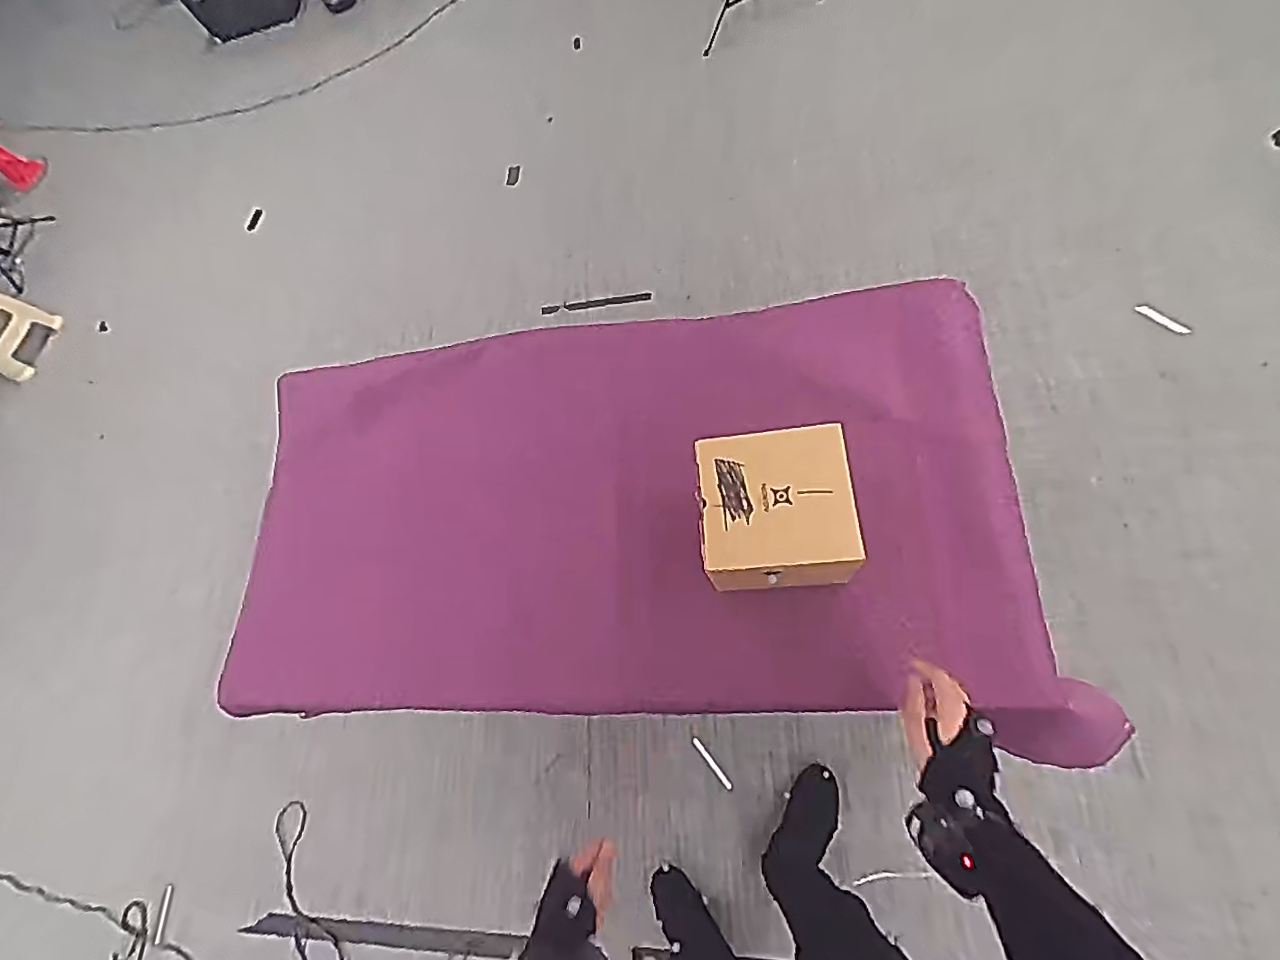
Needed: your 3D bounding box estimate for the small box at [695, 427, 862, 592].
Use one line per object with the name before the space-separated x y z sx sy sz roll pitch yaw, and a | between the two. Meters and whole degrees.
small box | 0.173 0.049 0.699 0.179 0.176 0.168 -6 70 11
